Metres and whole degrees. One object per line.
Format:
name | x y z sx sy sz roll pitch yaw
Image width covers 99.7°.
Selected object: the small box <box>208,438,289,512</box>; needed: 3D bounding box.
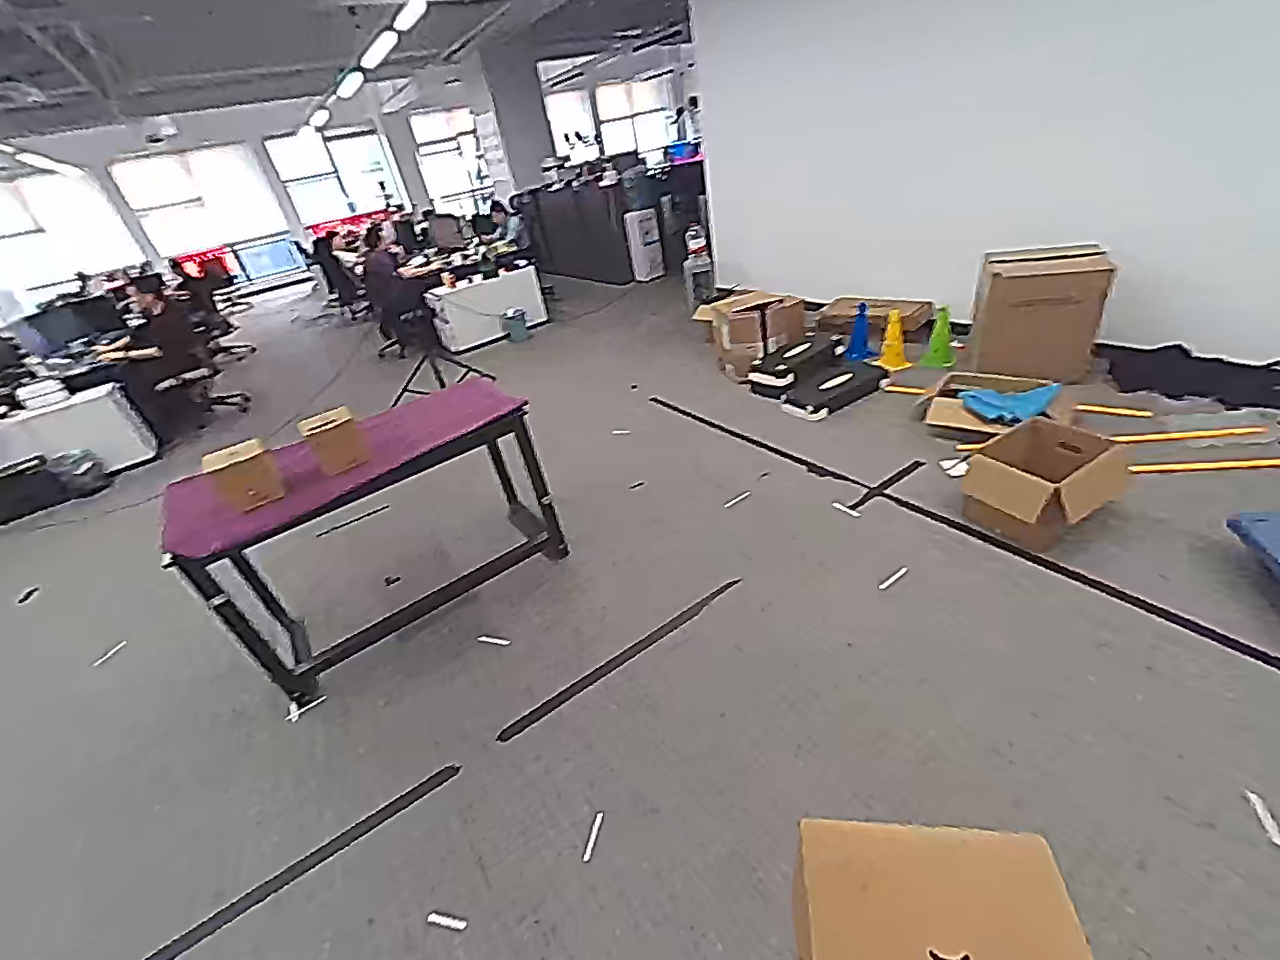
small box | -1.316 -0.017 1.821 0.168 0.176 0.179 -28 36 -27
